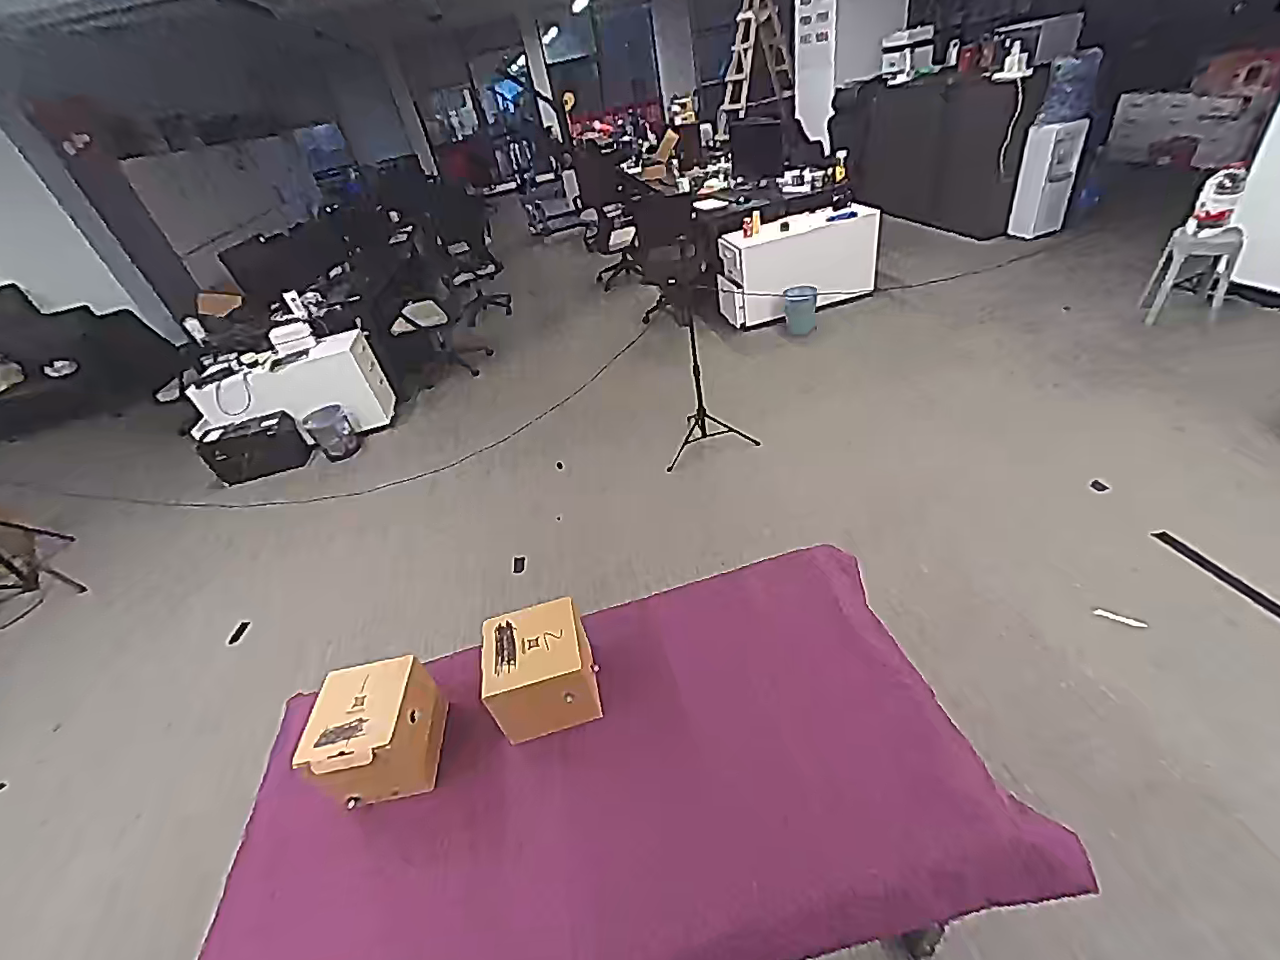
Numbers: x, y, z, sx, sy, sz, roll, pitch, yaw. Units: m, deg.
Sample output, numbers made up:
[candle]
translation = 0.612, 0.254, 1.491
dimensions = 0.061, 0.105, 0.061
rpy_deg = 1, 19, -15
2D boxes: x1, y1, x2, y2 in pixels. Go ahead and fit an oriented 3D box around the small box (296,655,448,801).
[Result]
[small box]
translation = -0.464, 0.450, 0.972
dimensions = 0.168, 0.176, 0.179
rpy_deg = -12, 37, 1
